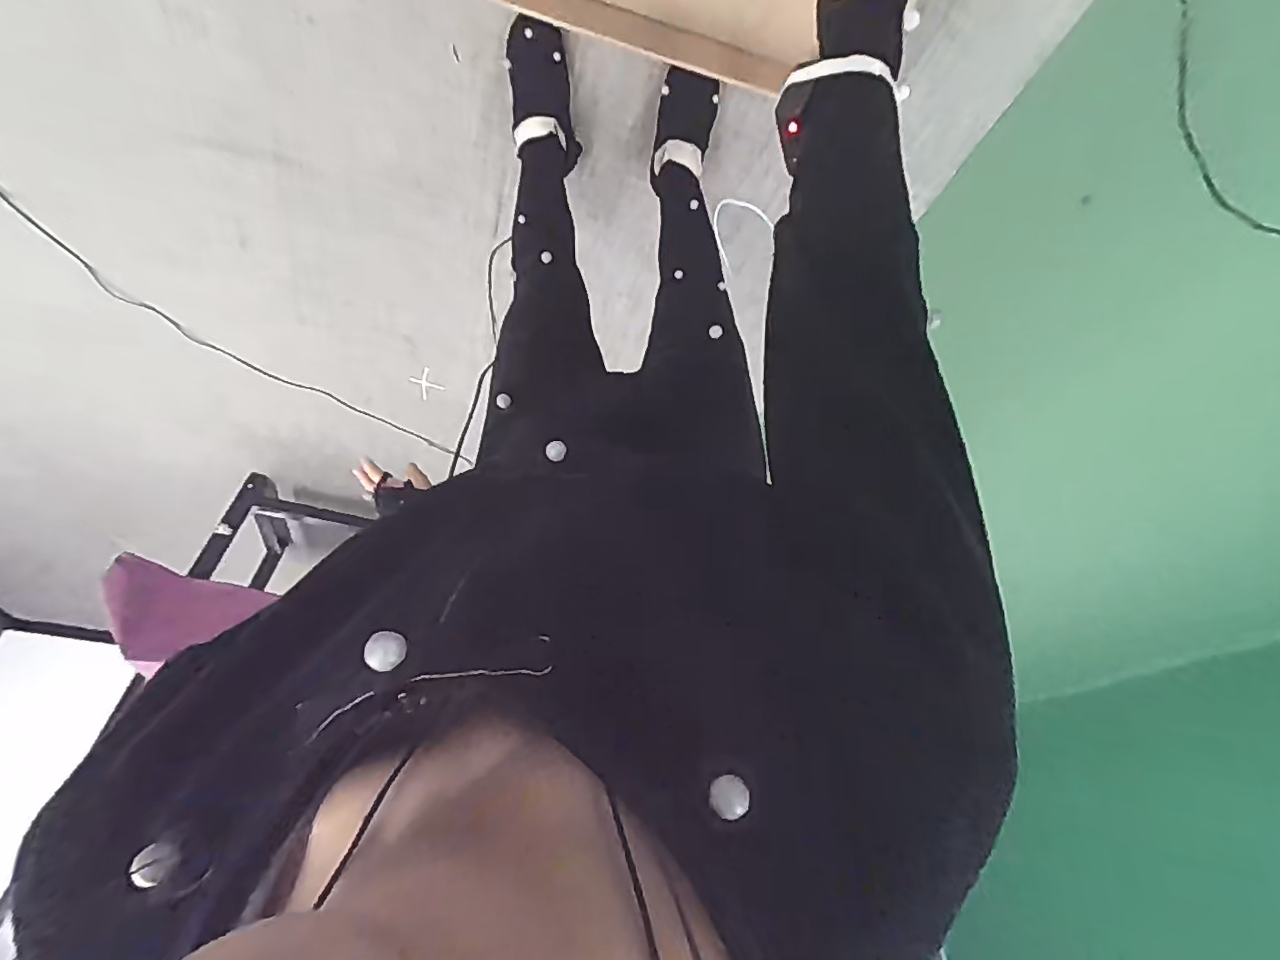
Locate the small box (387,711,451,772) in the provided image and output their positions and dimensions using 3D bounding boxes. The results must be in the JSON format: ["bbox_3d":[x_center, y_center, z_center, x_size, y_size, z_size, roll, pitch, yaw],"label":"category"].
[{"bbox_3d":[-0.816,0.964,1.999,0.179,0.176,0.168,14,142,-12],"label":"small box"}]
